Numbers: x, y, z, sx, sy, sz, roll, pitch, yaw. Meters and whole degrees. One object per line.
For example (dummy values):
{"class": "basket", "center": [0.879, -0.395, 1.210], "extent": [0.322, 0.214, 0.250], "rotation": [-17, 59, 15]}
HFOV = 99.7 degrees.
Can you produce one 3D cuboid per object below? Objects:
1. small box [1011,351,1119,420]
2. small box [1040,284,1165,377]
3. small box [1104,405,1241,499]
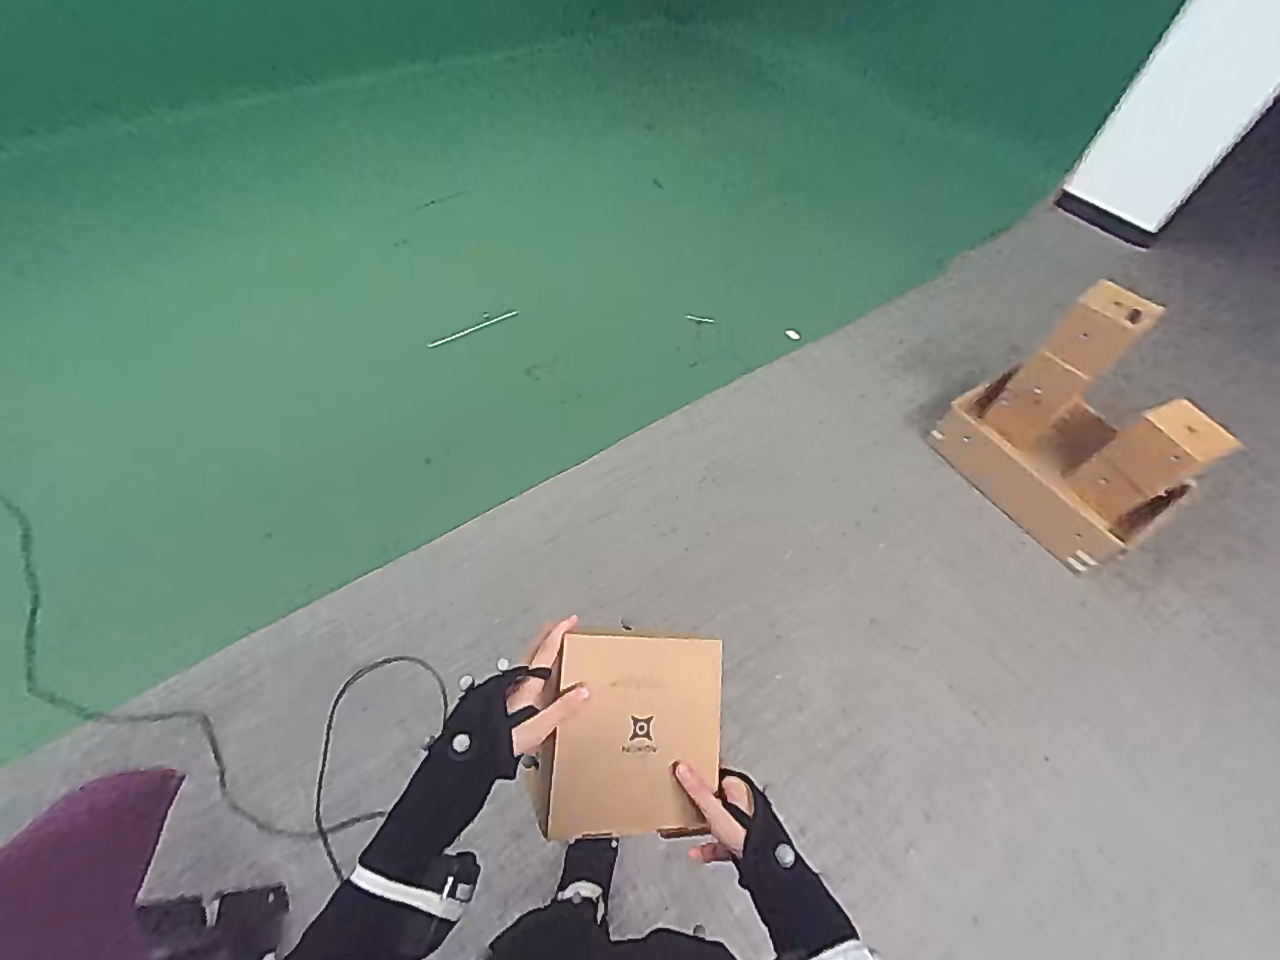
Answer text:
{"class": "small box", "center": [1.300, -0.320, 1.669], "extent": [0.179, 0.176, 0.168], "rotation": [-31, 62, -19]}
{"class": "small box", "center": [1.304, -0.417, 1.536], "extent": [0.168, 0.176, 0.179], "rotation": [-33, 62, -21]}
{"class": "small box", "center": [1.478, -0.076, 1.516], "extent": [0.168, 0.176, 0.179], "rotation": [-18, 59, -12]}
